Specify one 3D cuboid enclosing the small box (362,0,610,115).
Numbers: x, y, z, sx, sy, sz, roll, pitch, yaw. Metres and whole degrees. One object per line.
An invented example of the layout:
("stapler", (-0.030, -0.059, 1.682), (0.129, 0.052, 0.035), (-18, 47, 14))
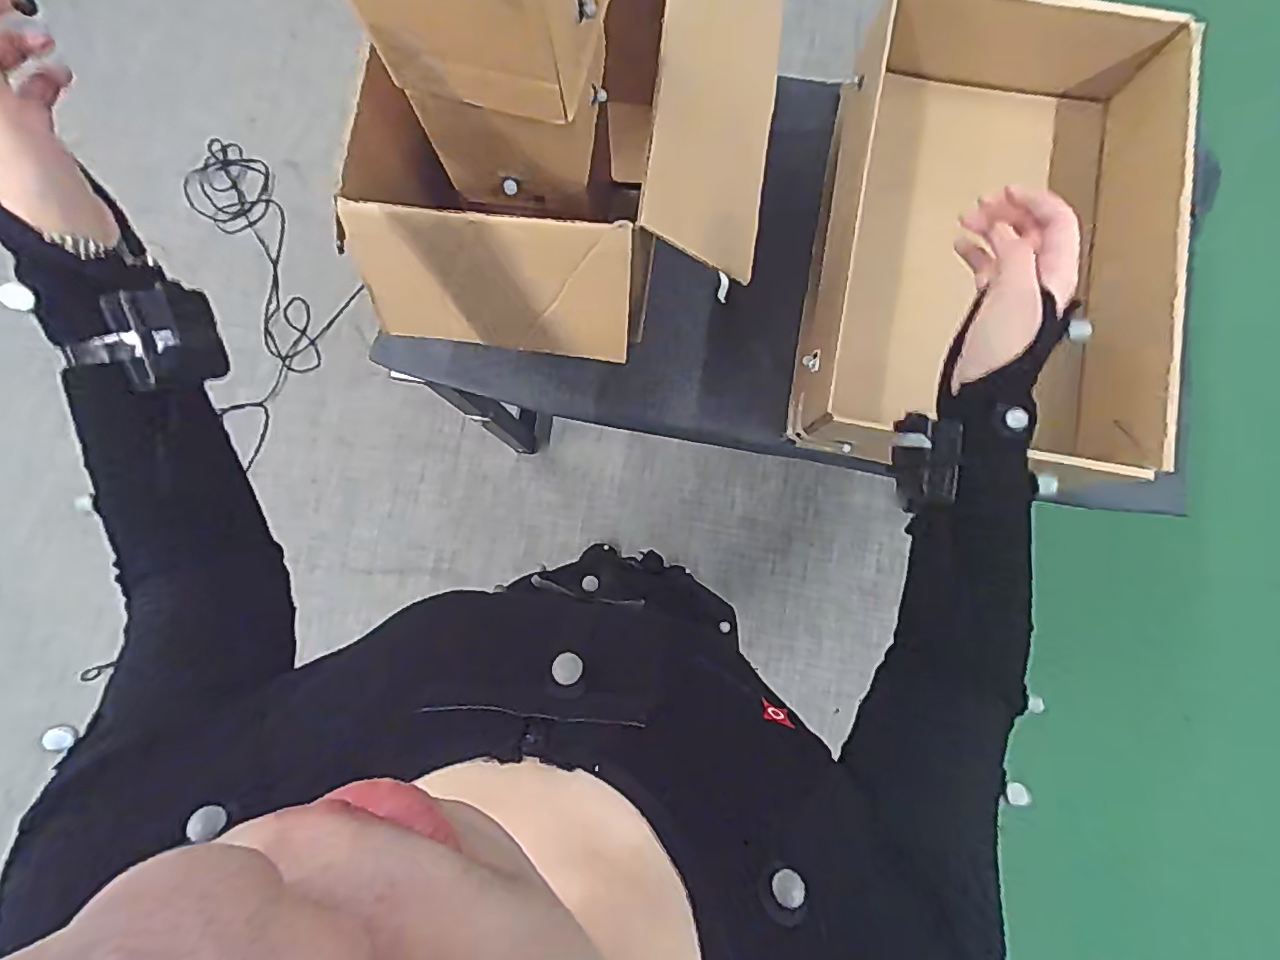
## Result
("small box", (-0.128, -0.441, 0.437), (0.179, 0.176, 0.168), (14, 84, 1))
